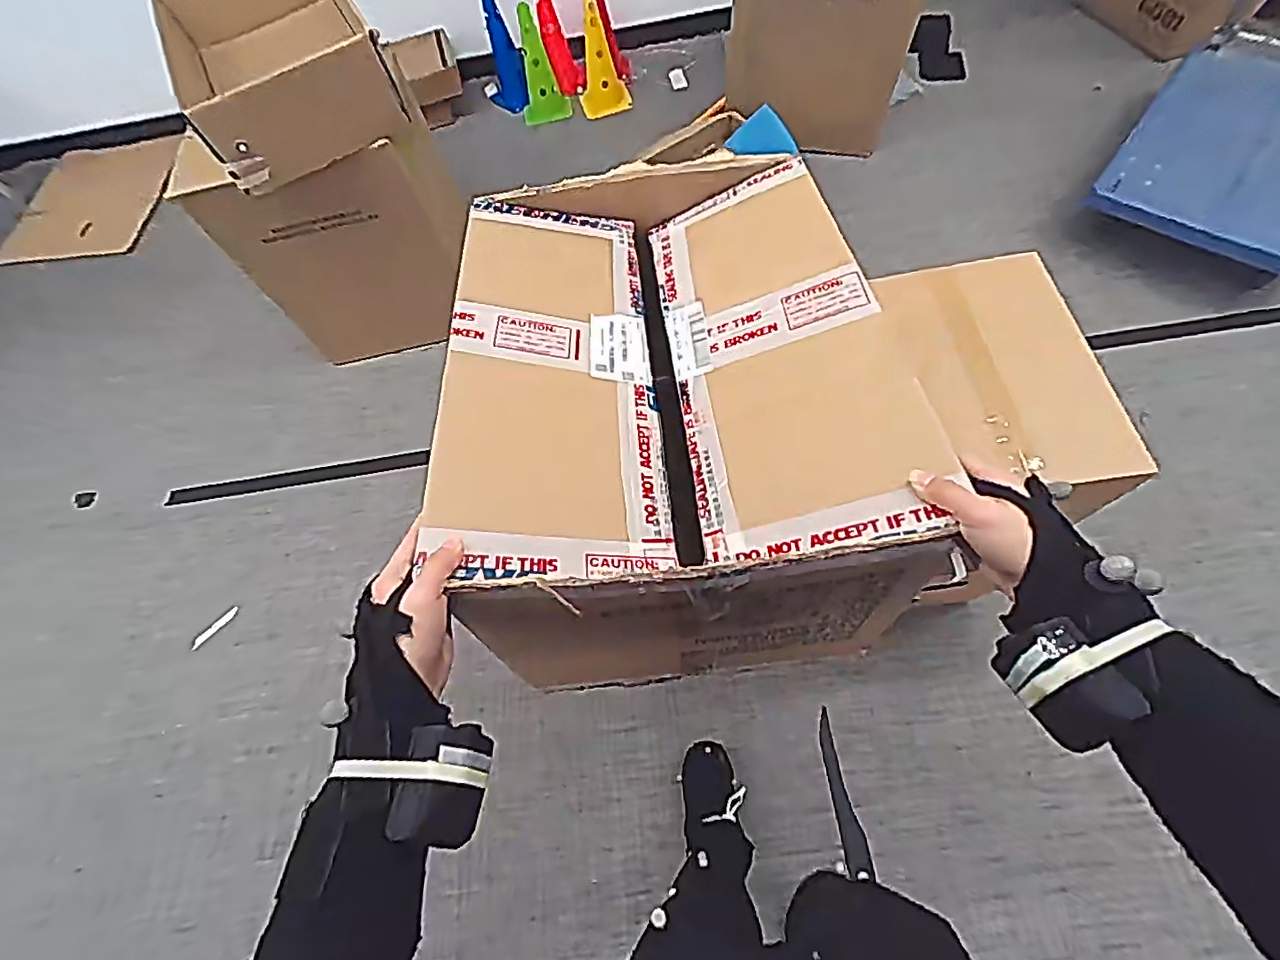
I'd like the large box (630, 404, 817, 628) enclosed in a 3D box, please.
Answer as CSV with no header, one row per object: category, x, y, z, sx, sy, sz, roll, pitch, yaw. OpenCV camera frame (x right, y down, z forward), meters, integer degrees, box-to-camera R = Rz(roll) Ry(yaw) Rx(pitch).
large box,0.170,0.094,1.239,0.320,0.320,0.408,-10,65,3
